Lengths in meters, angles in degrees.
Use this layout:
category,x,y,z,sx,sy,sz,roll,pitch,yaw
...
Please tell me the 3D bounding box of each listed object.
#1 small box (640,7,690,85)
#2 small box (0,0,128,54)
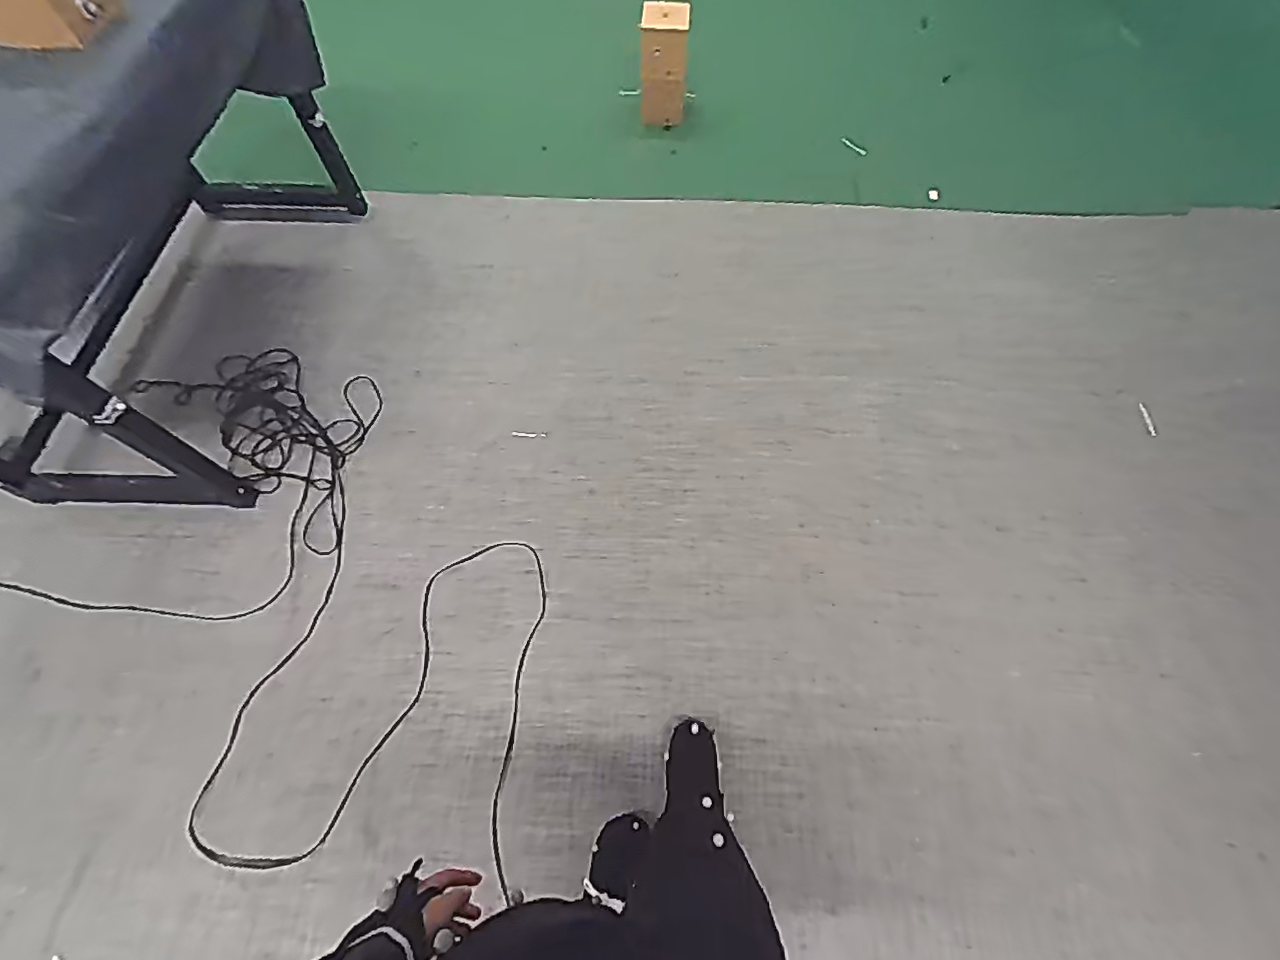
category,x,y,z,sx,sy,sz,roll,pitch,yaw
small box,0.091,-1.566,1.956,0.168,0.176,0.179,4,64,2
small box,-1.140,-0.933,1.009,0.179,0.176,0.168,3,65,1
